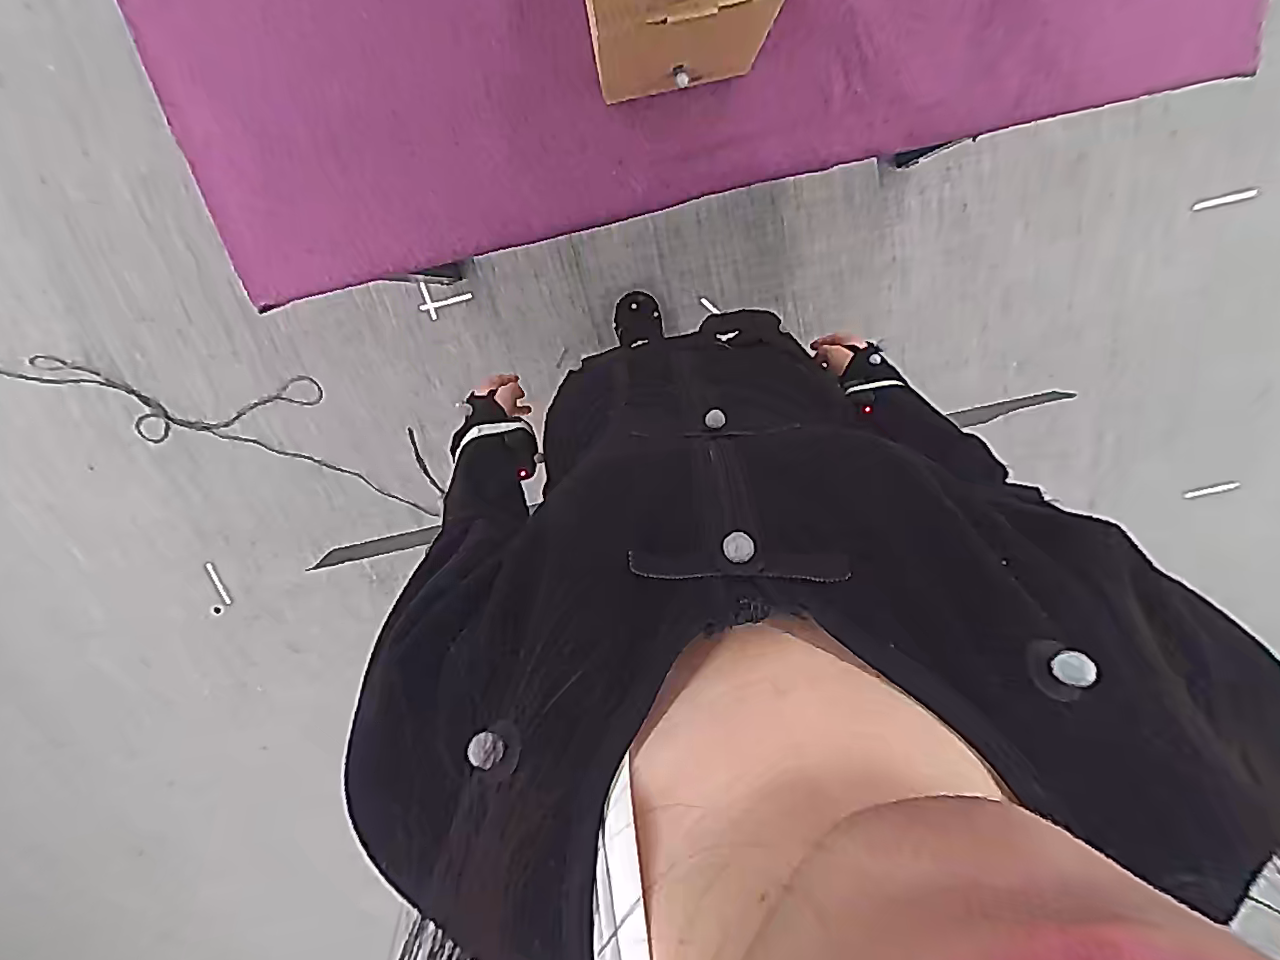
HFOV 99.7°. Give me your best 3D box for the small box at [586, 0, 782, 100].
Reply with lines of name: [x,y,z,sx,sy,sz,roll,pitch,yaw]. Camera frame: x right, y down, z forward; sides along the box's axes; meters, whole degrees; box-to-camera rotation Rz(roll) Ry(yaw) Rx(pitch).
small box: [0.026,-0.500,0.508,0.168,0.176,0.179,-11,108,2]
